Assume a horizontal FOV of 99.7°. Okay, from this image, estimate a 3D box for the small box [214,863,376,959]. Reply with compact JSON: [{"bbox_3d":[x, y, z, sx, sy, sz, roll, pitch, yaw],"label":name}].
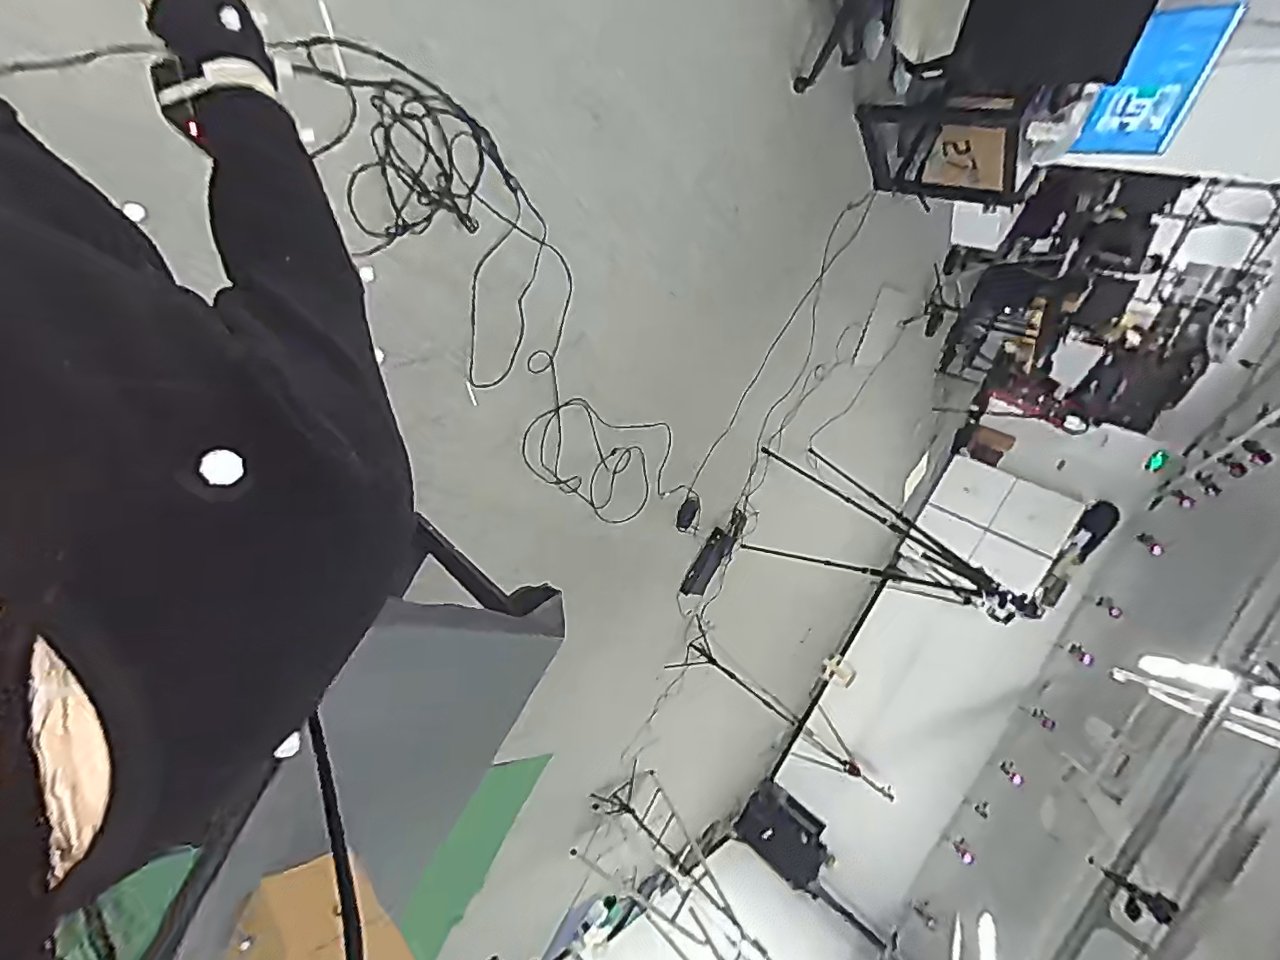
[{"bbox_3d":[-0.638,0.863,1.001,0.179,0.176,0.168,22,96,-57],"label":"small box"}]
